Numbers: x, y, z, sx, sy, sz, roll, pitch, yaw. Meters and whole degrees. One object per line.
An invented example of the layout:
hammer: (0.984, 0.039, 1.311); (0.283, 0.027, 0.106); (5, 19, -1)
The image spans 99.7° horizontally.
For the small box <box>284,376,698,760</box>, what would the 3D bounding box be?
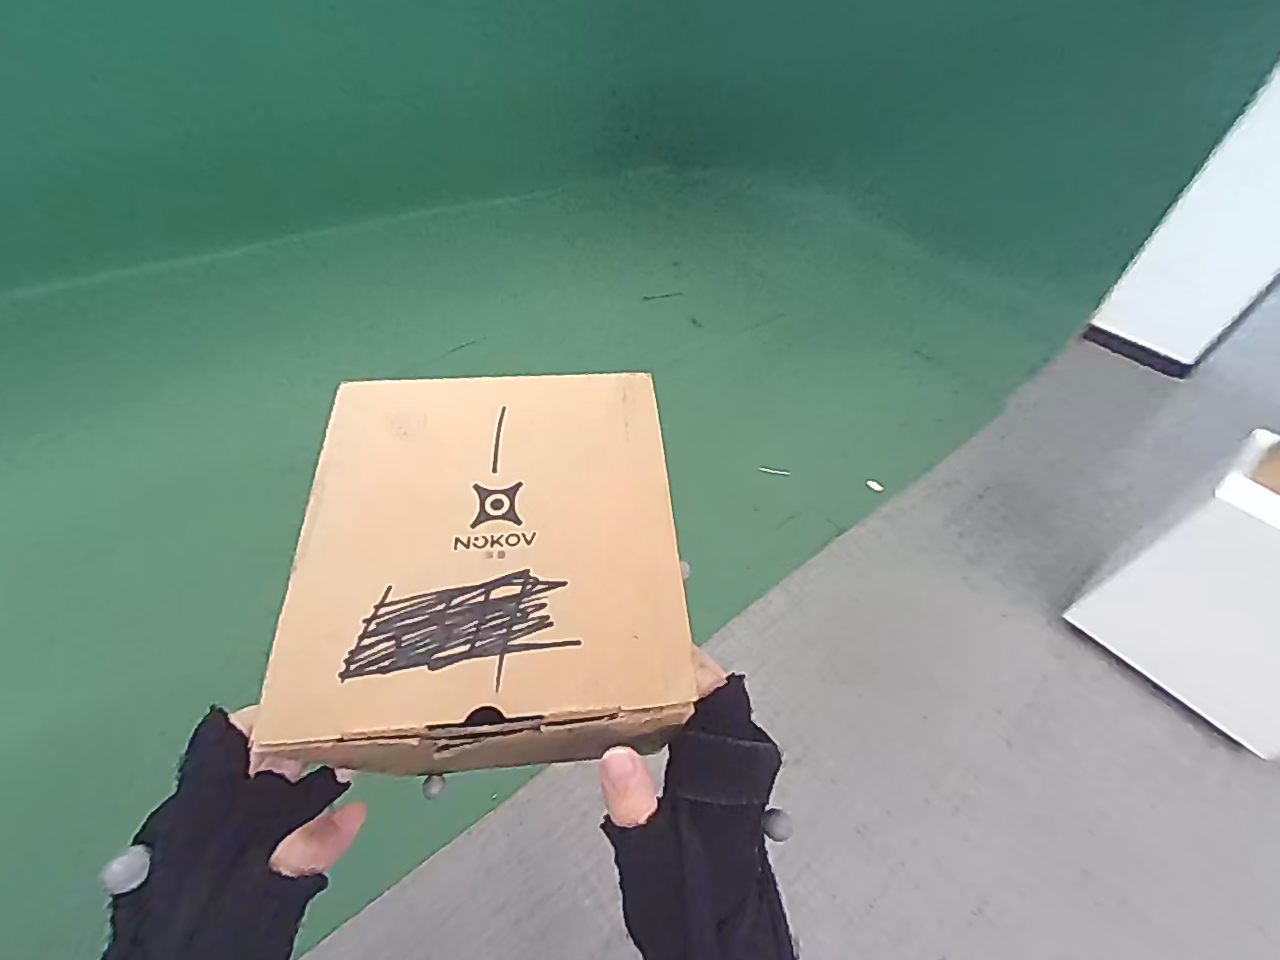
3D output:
small box: (-0.064, 0.062, 0.321); (0.168, 0.176, 0.179); (-3, 58, -4)

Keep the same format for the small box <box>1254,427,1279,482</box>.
small box: (1.536, -0.075, 1.194); (0.179, 0.176, 0.168); (-32, 56, -26)
